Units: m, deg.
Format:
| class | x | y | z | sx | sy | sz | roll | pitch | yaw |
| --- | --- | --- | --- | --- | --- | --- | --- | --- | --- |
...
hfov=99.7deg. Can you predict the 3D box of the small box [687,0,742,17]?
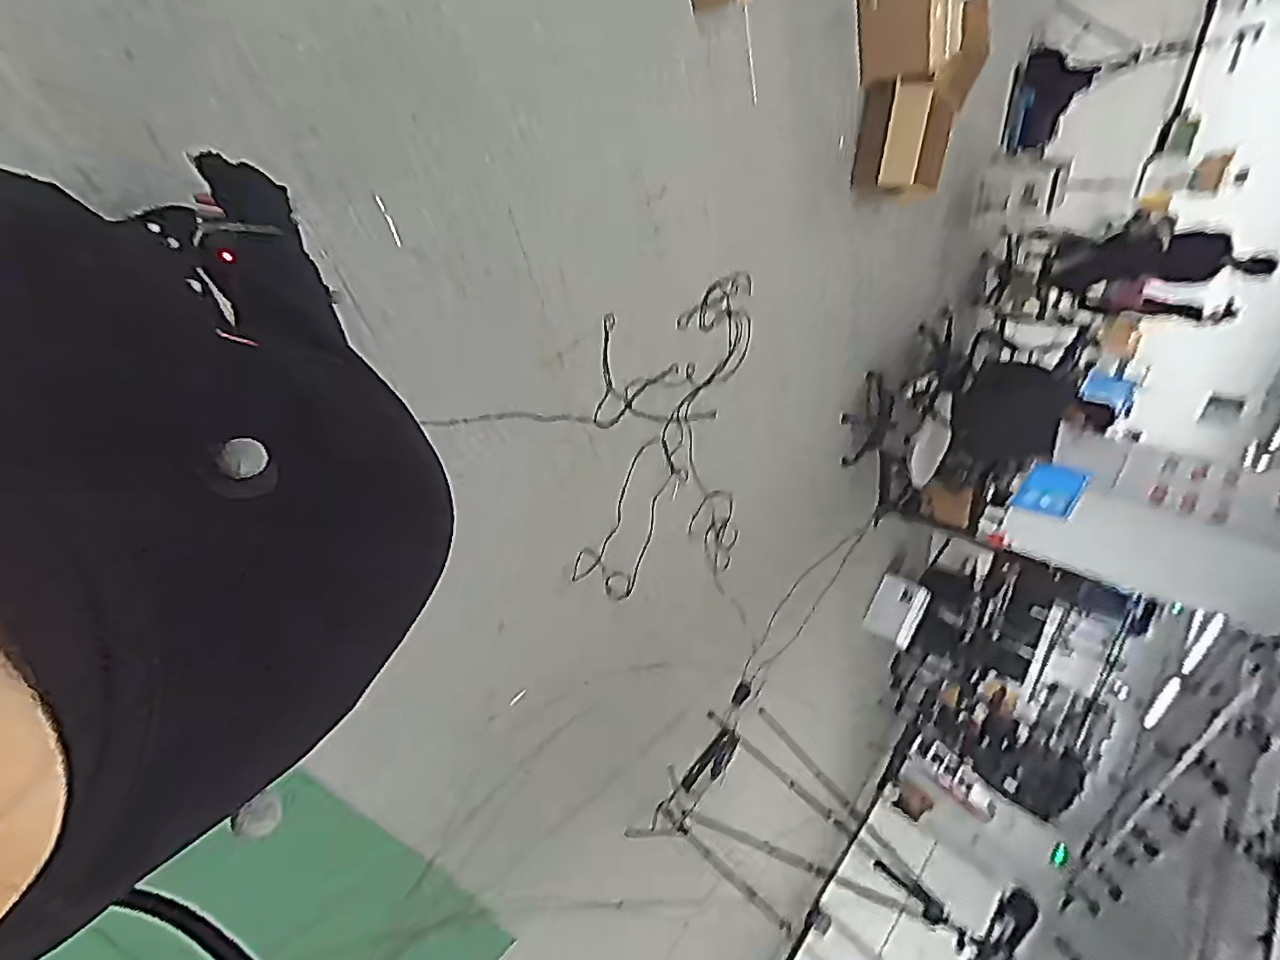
| class | x | y | z | sx | sy | sz | roll | pitch | yaw |
| --- | --- | --- | --- | --- | --- | --- | --- | --- | --- |
| small box | 0.255 | -1.596 | 1.696 | 0.179 | 0.176 | 0.168 | -44 | 134 | -24 |
